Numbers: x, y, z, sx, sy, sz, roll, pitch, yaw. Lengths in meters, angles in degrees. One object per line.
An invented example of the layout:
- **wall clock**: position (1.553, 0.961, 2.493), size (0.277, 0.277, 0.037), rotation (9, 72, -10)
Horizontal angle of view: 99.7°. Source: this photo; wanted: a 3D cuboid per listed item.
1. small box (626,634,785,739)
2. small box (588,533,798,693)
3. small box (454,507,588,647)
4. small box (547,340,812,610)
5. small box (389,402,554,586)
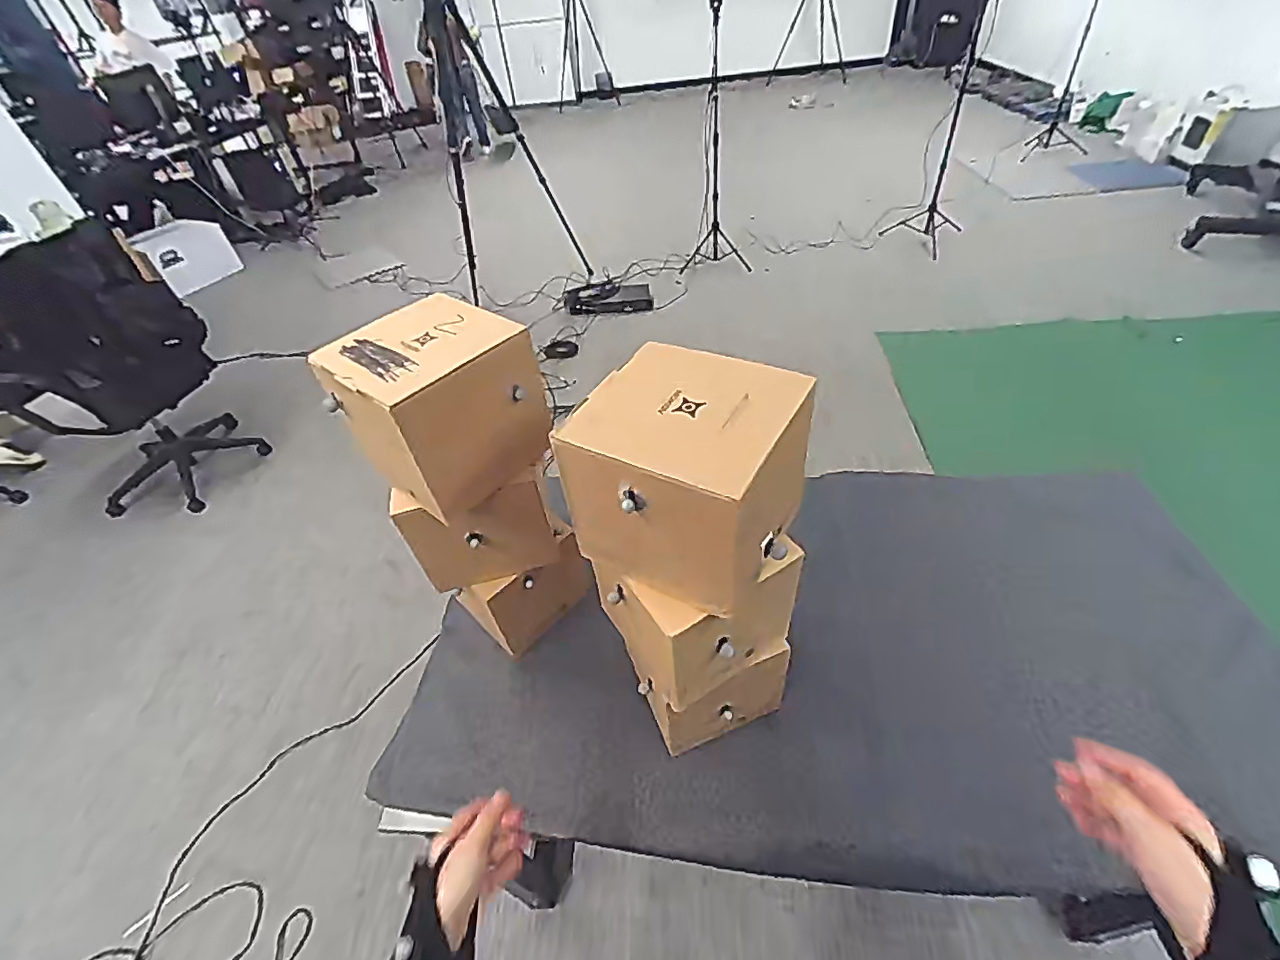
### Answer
- **small box**: position (0.078, 0.226, 0.739), size (0.168, 0.176, 0.179), rotation (-19, 45, -12)
- **small box**: position (0.056, 0.116, 0.622), size (0.168, 0.176, 0.179), rotation (-27, 47, -19)
- **small box**: position (-0.207, 0.135, 0.873), size (0.179, 0.176, 0.168), rotation (31, 57, 33)
- **small box**: position (0.043, -0.006, 0.515), size (0.179, 0.176, 0.168), rotation (20, 52, 26)
- **small box**: position (-0.224, 0.021, 0.754), size (0.179, 0.176, 0.168), rotation (-15, 46, -6)
